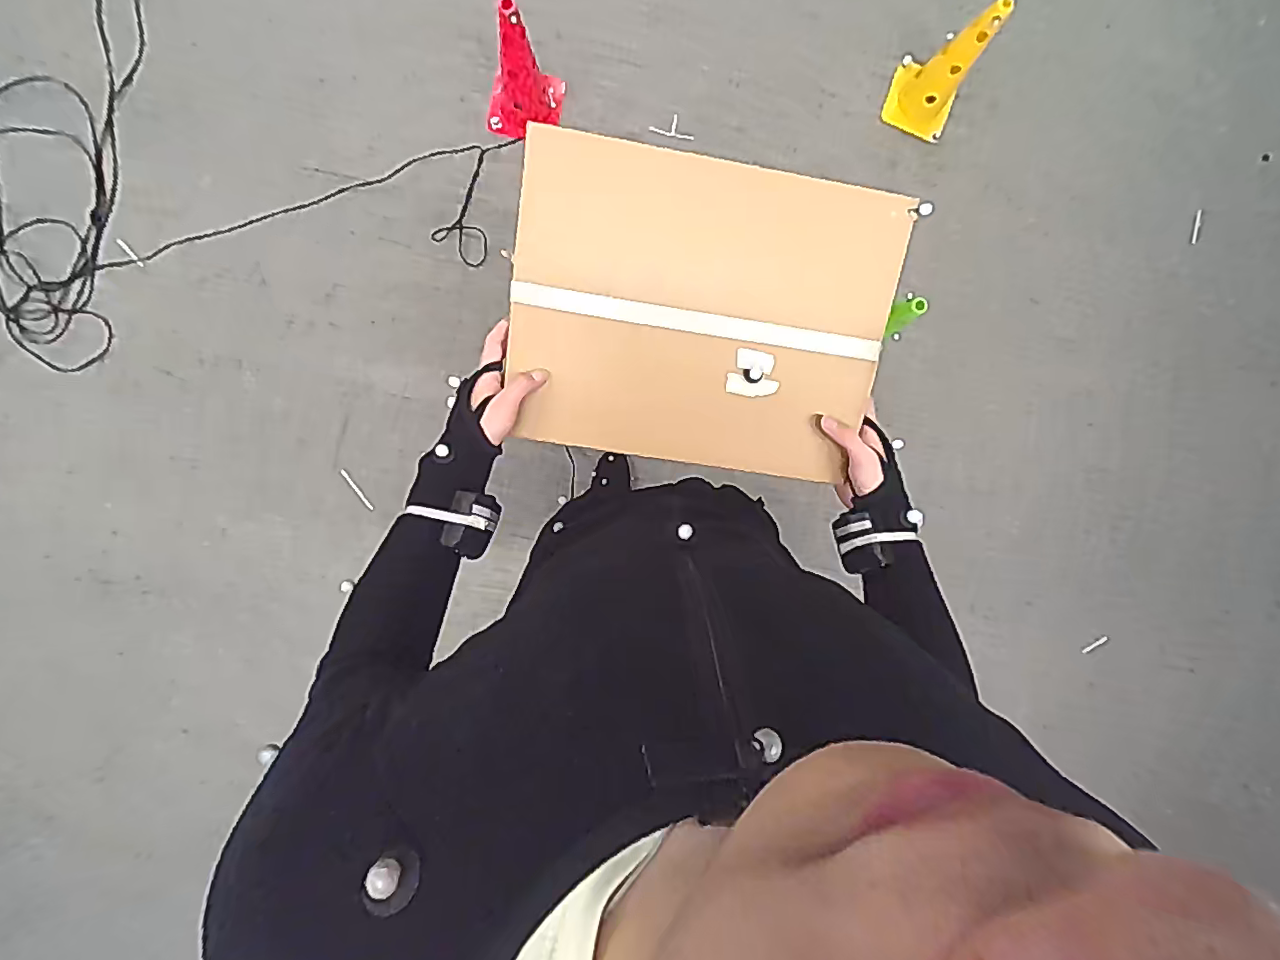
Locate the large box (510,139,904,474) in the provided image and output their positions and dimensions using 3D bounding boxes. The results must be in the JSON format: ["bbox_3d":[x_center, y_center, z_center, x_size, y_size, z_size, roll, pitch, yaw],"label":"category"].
[{"bbox_3d":[0.055,-0.212,0.734,0.408,0.320,0.320,7,106,-5],"label":"large box"}]

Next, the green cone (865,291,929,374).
[{"bbox_3d":[0.677,-0.442,1.504,0.200,0.368,0.202,16,89,-6],"label":"green cone"}]
